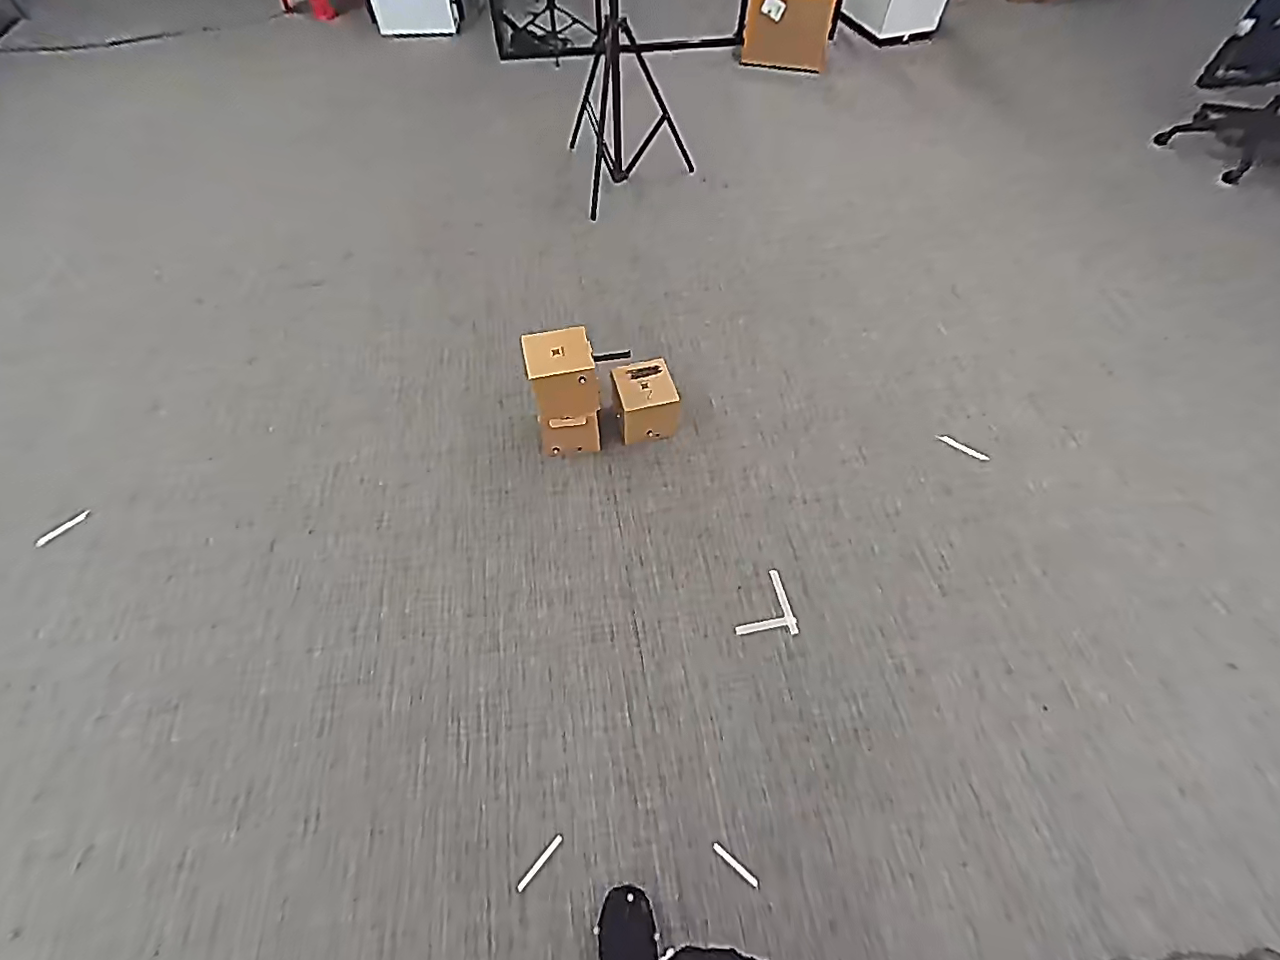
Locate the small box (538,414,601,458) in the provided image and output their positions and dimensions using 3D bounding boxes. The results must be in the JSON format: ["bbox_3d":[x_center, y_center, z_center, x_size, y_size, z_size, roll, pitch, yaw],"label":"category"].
[{"bbox_3d":[-0.210,-0.177,1.621,0.168,0.176,0.179,-6,56,-4],"label":"small box"}]

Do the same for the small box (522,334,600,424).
[{"bbox_3d":[-0.215,-0.273,1.490,0.179,0.176,0.168,-12,57,-8],"label":"small box"}]
